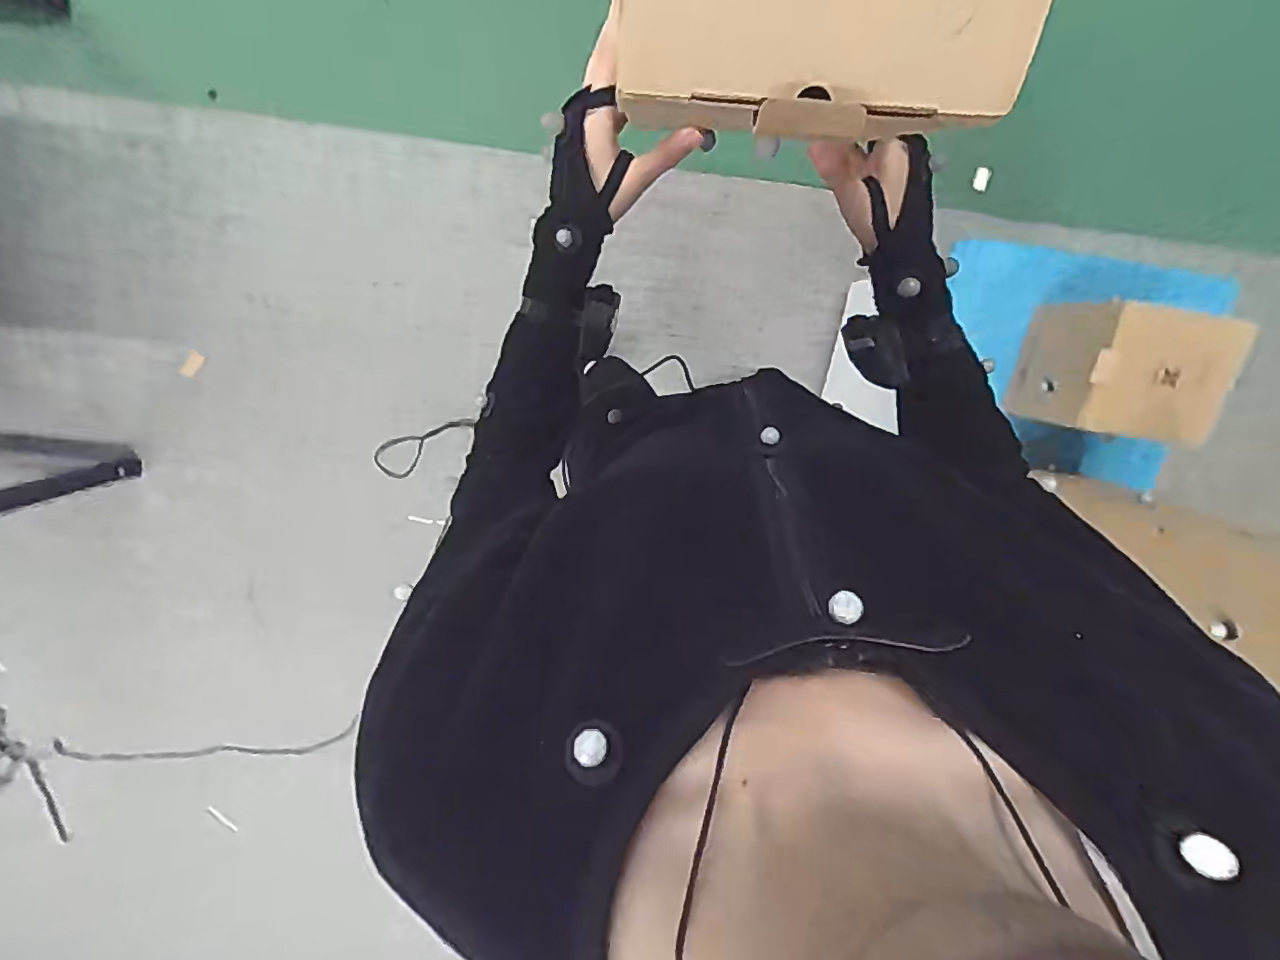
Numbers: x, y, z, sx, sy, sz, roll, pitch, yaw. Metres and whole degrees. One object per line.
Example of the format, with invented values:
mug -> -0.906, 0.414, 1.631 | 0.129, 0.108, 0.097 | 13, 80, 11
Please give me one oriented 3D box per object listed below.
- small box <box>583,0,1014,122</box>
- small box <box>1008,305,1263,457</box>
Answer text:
small box -> 0.067, -0.274, 0.246 | 0.168, 0.176, 0.179 | 4, 121, -1
small box -> 0.673, -0.144, 0.764 | 0.179, 0.176, 0.168 | 10, 106, -2
